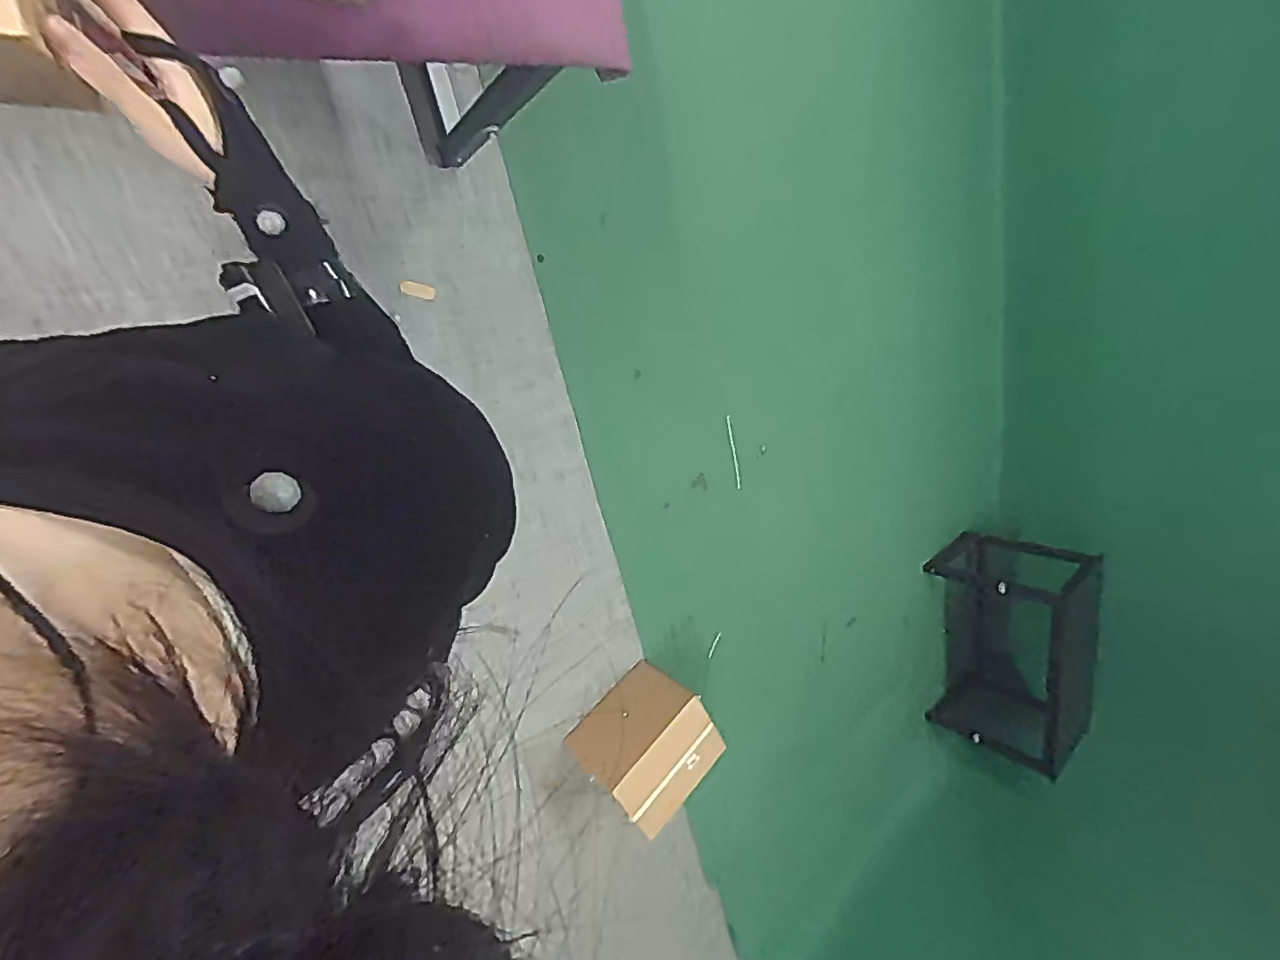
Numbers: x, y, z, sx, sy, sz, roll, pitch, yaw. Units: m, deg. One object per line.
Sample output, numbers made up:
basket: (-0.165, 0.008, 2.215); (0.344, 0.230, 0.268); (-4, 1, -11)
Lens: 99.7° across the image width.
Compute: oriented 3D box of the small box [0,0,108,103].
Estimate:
small box: (-0.395, -0.289, 0.238); (0.179, 0.176, 0.168); (-13, 117, -29)

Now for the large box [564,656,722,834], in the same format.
large box: (0.012, 0.920, 1.923); (0.408, 0.320, 0.320); (-40, 121, -25)
